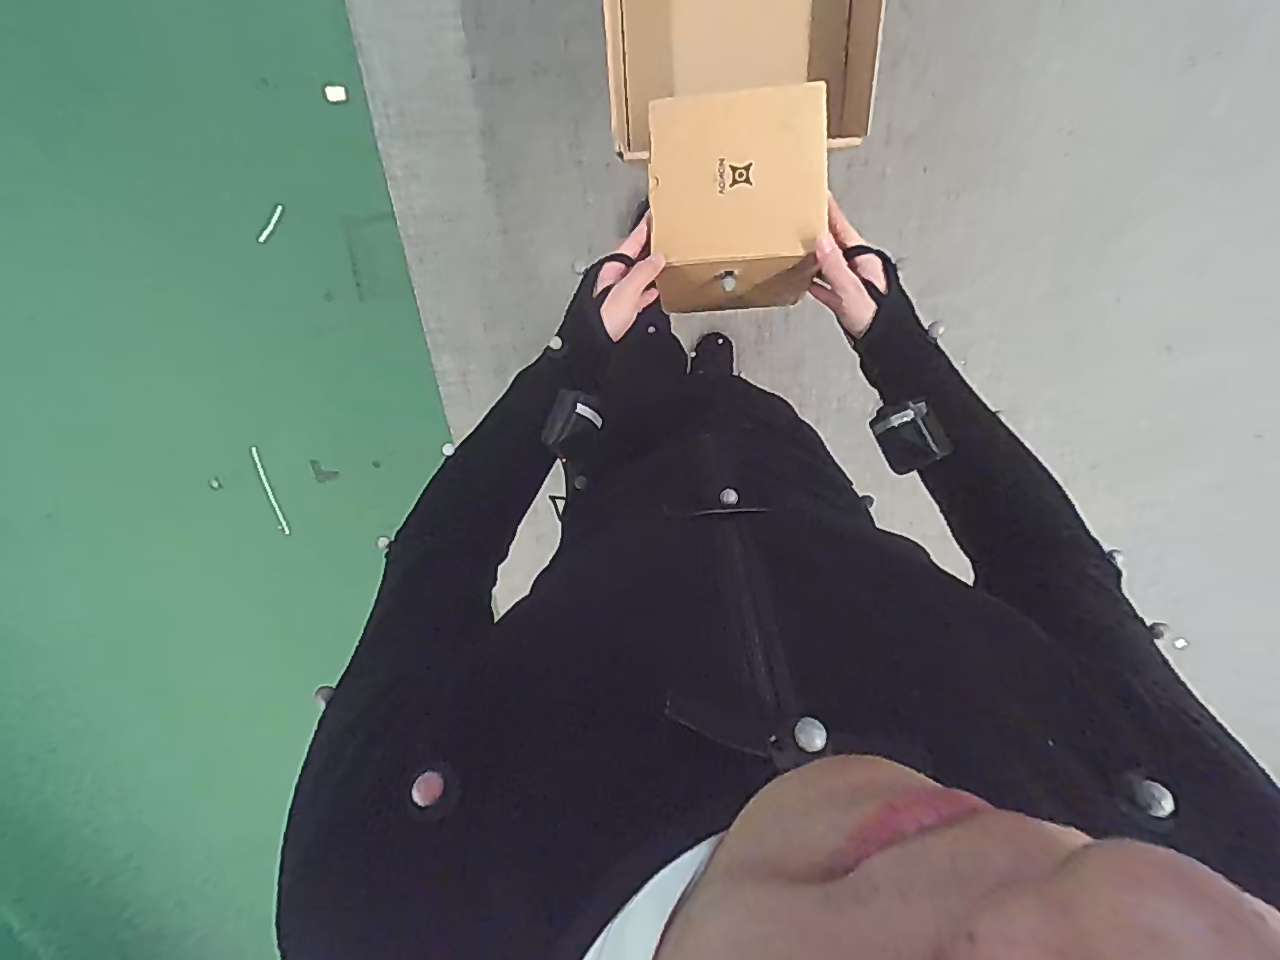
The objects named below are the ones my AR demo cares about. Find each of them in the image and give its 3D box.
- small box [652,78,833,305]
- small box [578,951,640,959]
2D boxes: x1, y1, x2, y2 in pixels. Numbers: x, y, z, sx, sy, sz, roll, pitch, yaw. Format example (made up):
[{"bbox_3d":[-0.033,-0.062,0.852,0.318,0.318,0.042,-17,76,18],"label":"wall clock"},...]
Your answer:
[{"bbox_3d":[0.109,-0.303,0.607,0.179,0.176,0.168,-1,92,8],"label":"small box"},{"bbox_3d":[-0.089,1.399,1.440,0.179,0.176,0.168,4,115,1],"label":"small box"}]
